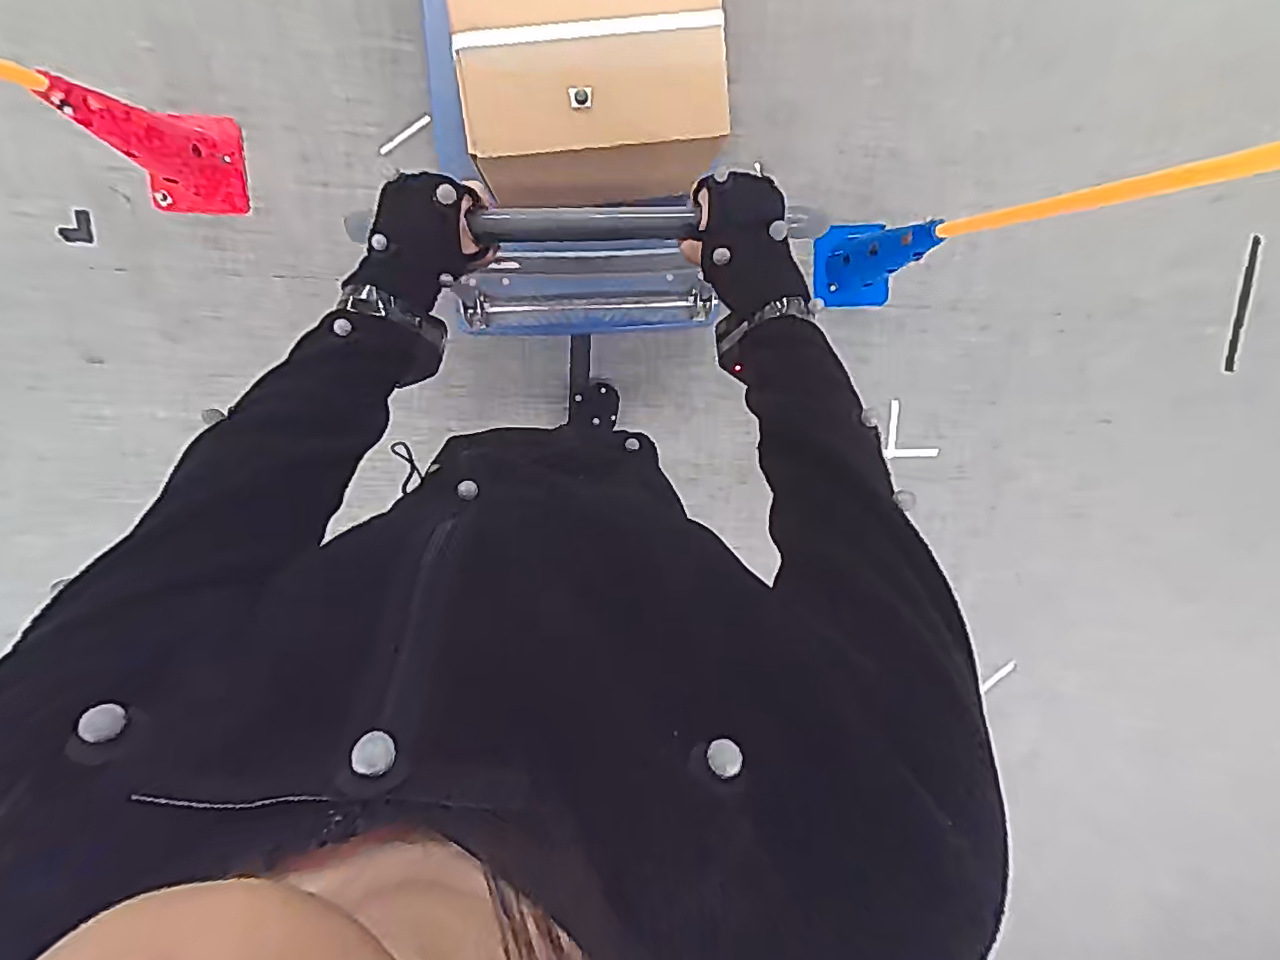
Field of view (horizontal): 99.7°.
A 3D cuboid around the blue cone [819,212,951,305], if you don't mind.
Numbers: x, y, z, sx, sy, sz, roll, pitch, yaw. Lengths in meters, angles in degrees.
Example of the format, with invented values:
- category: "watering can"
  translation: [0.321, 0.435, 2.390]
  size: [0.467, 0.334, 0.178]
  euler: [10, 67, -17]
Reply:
- category: "blue cone"
  translation: [0.565, -0.520, 1.224]
  size: [0.193, 0.380, 0.192]
  euler: [-2, 100, -6]
